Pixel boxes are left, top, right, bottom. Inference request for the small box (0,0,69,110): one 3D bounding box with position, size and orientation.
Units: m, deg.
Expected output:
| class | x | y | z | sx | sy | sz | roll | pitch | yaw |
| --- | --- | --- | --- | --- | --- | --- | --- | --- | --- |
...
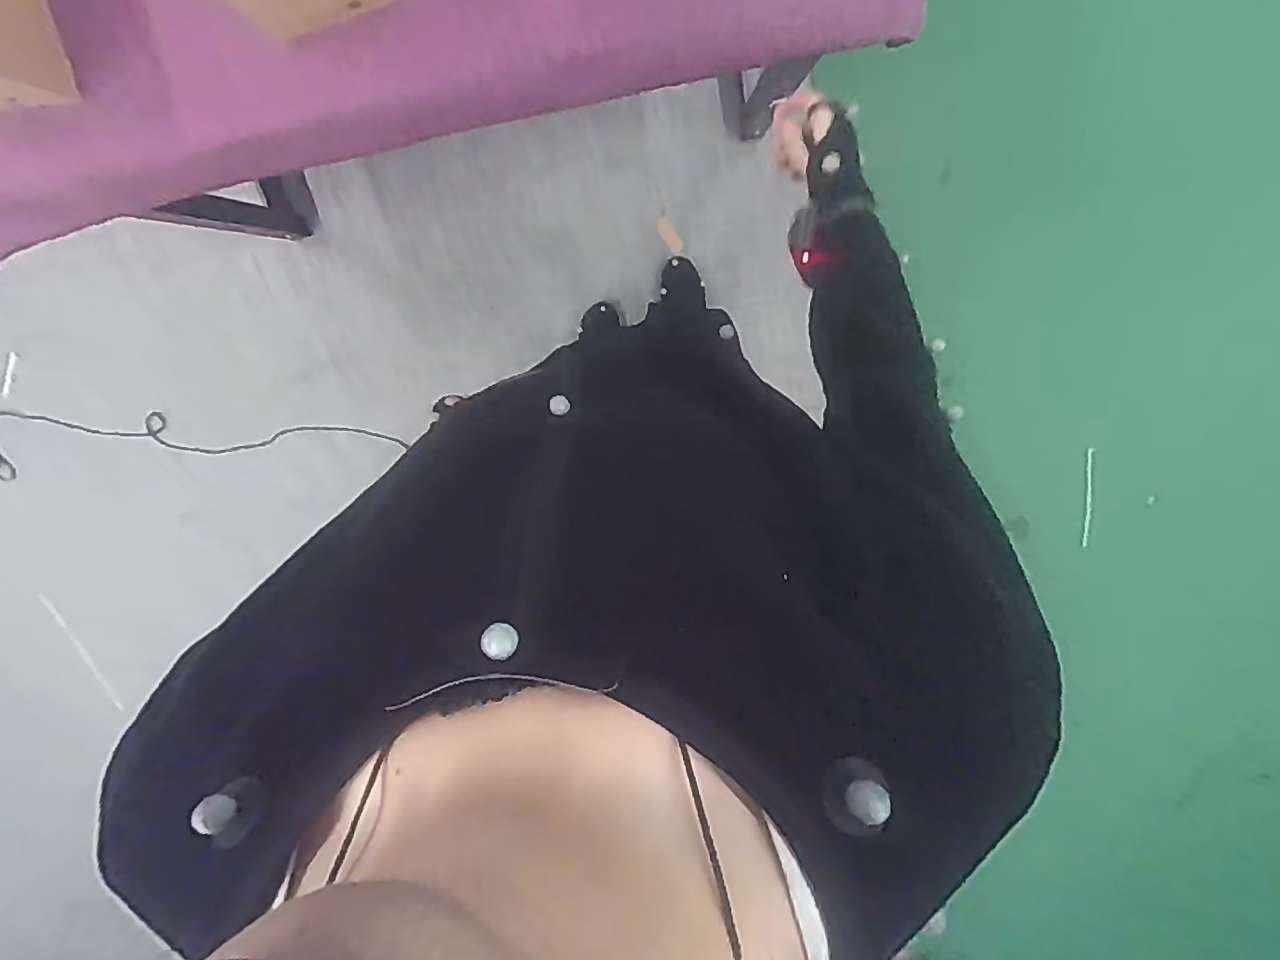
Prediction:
| class | x | y | z | sx | sy | sz | roll | pitch | yaw |
| --- | --- | --- | --- | --- | --- | --- | --- | --- | --- |
| small box | -0.742 | -0.483 | 0.531 | 0.168 | 0.176 | 0.179 | -4 | 109 | 1 |
